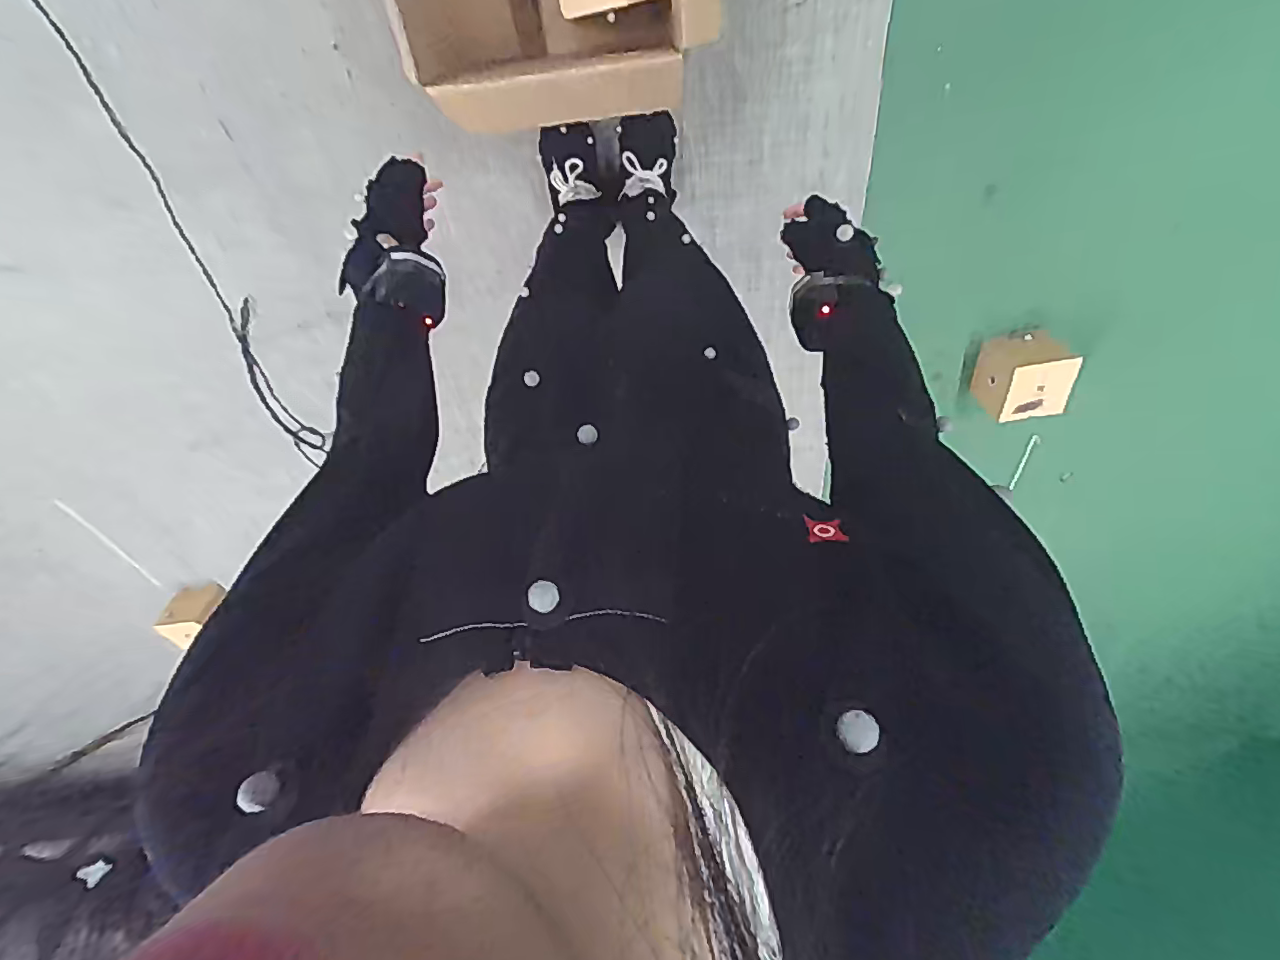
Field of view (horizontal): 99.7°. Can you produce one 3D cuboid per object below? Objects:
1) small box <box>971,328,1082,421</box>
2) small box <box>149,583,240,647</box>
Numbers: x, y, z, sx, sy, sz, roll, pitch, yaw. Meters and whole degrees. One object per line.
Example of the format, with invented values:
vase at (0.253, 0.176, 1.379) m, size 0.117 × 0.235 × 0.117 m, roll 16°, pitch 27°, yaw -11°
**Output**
small box at (1.033, -0.287, 1.466) m, size 0.168 × 0.176 × 0.179 m, roll -9°, pitch 131°, yaw 5°
small box at (-1.701, 0.516, 2.077) m, size 0.179 × 0.176 × 0.168 m, roll -8°, pitch 133°, yaw 4°
